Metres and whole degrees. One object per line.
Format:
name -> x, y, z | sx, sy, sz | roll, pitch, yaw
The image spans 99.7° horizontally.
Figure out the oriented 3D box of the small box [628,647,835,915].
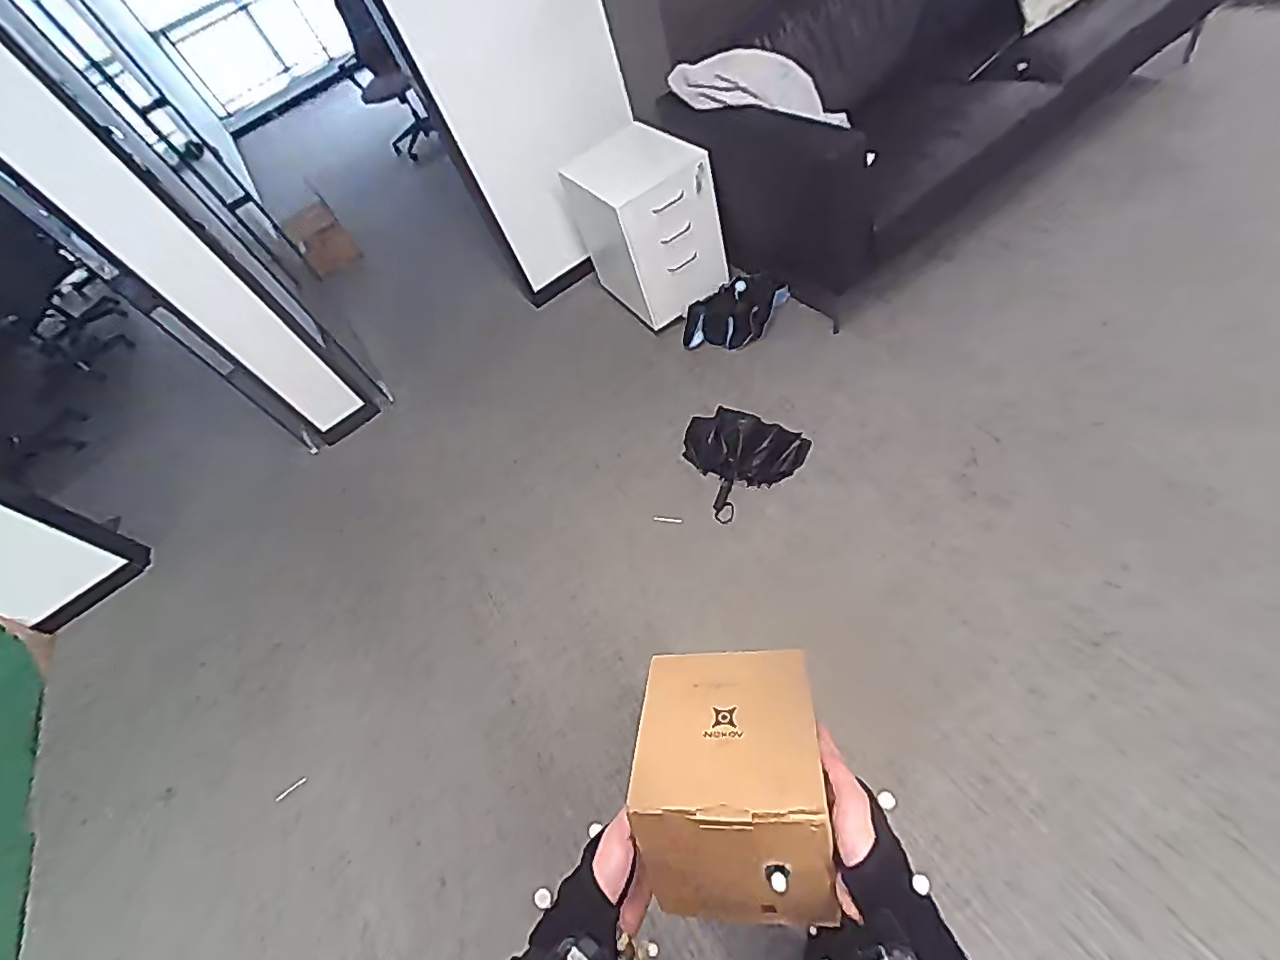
small box -> 0.096, 0.294, 0.543 | 0.168, 0.176, 0.179 | -6, 26, 12
